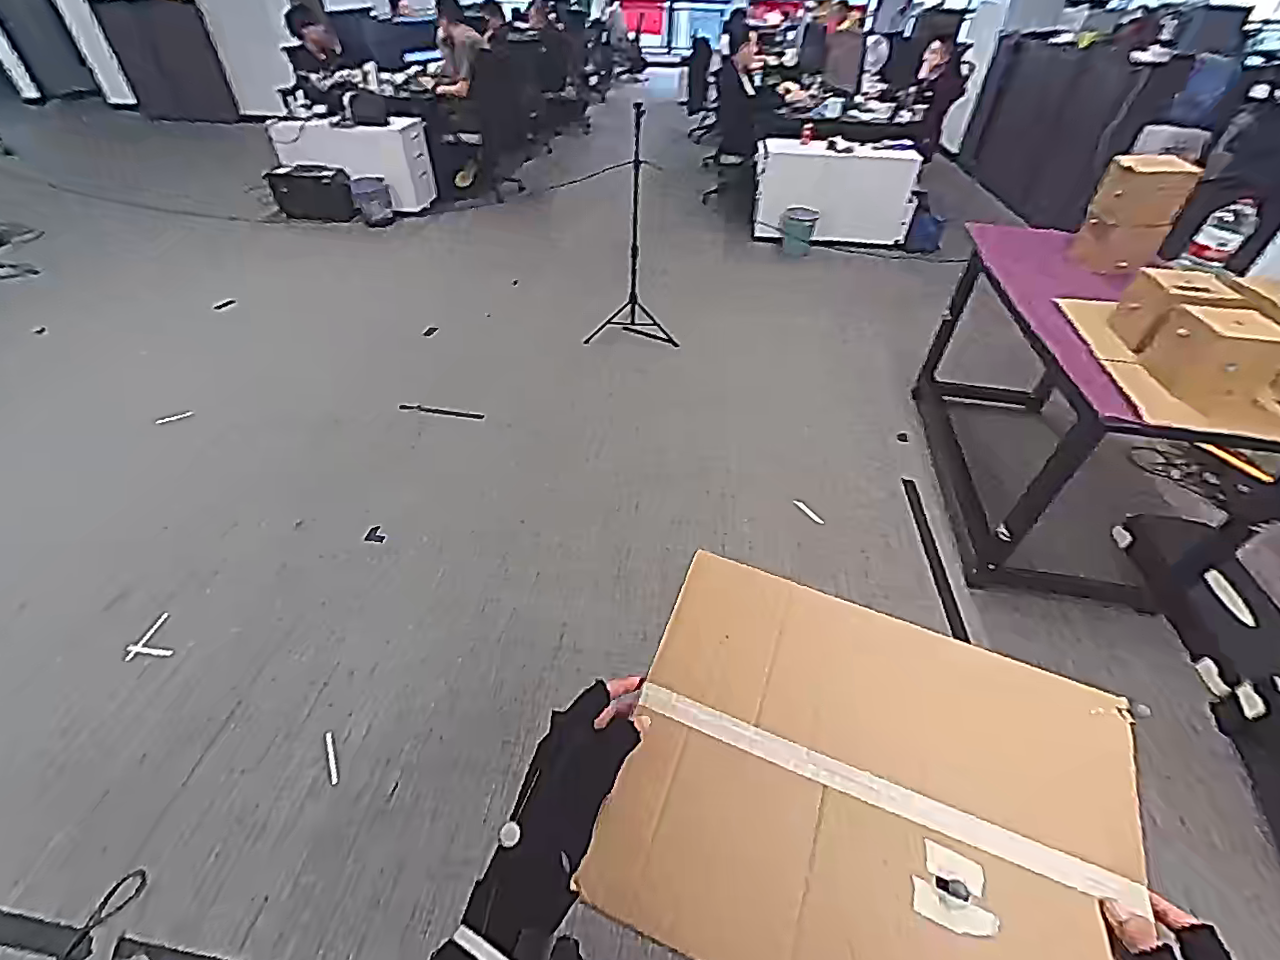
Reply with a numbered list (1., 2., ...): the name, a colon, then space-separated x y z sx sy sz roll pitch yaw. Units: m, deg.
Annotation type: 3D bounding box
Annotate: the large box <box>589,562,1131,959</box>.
1. large box: 0.194 0.345 0.588 0.408 0.320 0.320 18 58 12
